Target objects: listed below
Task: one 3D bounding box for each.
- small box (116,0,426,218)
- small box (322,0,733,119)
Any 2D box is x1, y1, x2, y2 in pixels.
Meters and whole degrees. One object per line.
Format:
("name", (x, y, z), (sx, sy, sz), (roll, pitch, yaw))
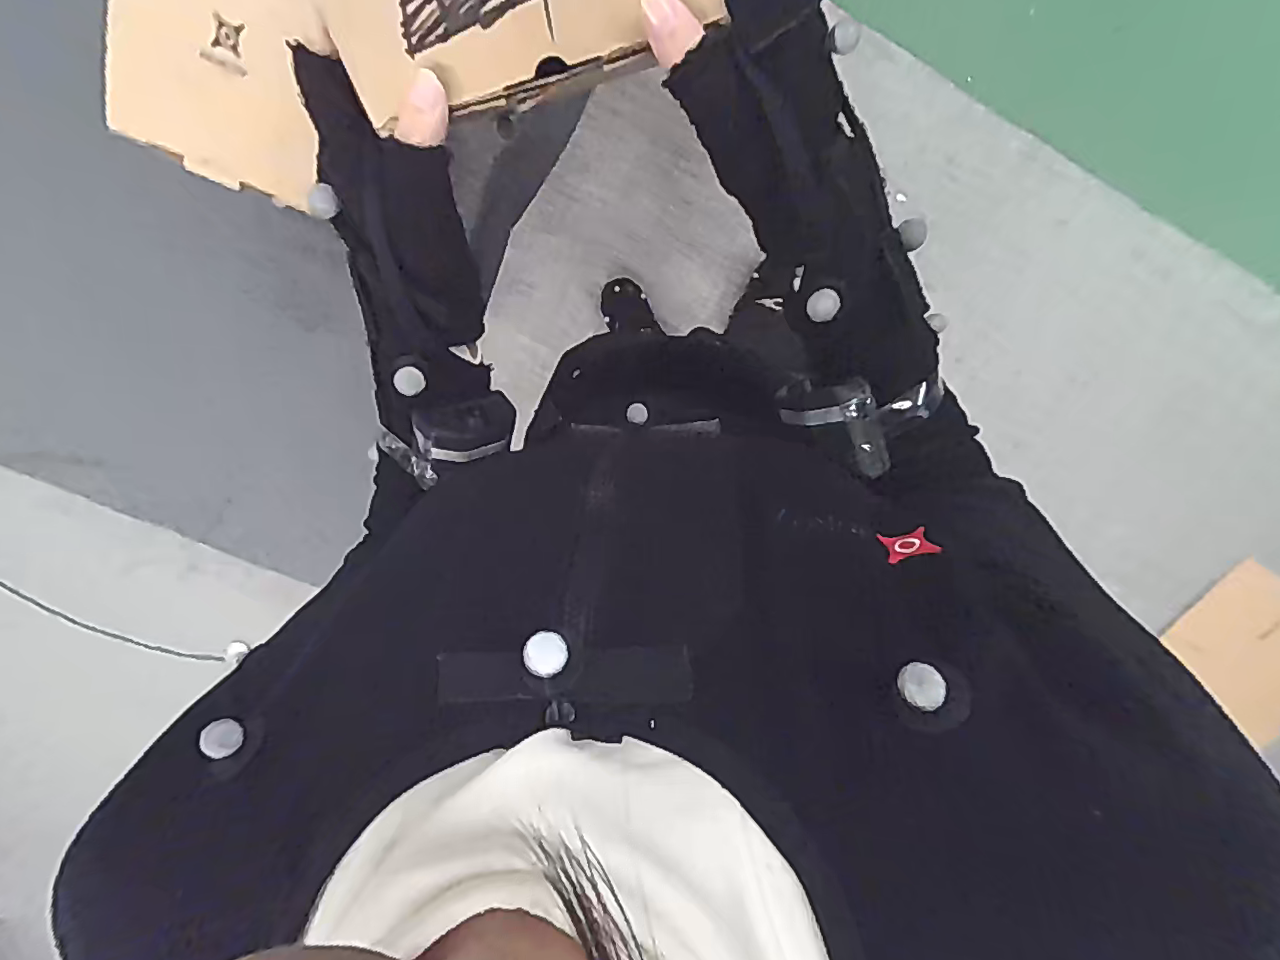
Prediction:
("small box", (-0.307, -0.356, 0.484), (0.168, 0.176, 0.179), (19, 109, -3))
("small box", (-0.058, -0.289, 0.246), (0.168, 0.176, 0.179), (-12, 123, 7))
